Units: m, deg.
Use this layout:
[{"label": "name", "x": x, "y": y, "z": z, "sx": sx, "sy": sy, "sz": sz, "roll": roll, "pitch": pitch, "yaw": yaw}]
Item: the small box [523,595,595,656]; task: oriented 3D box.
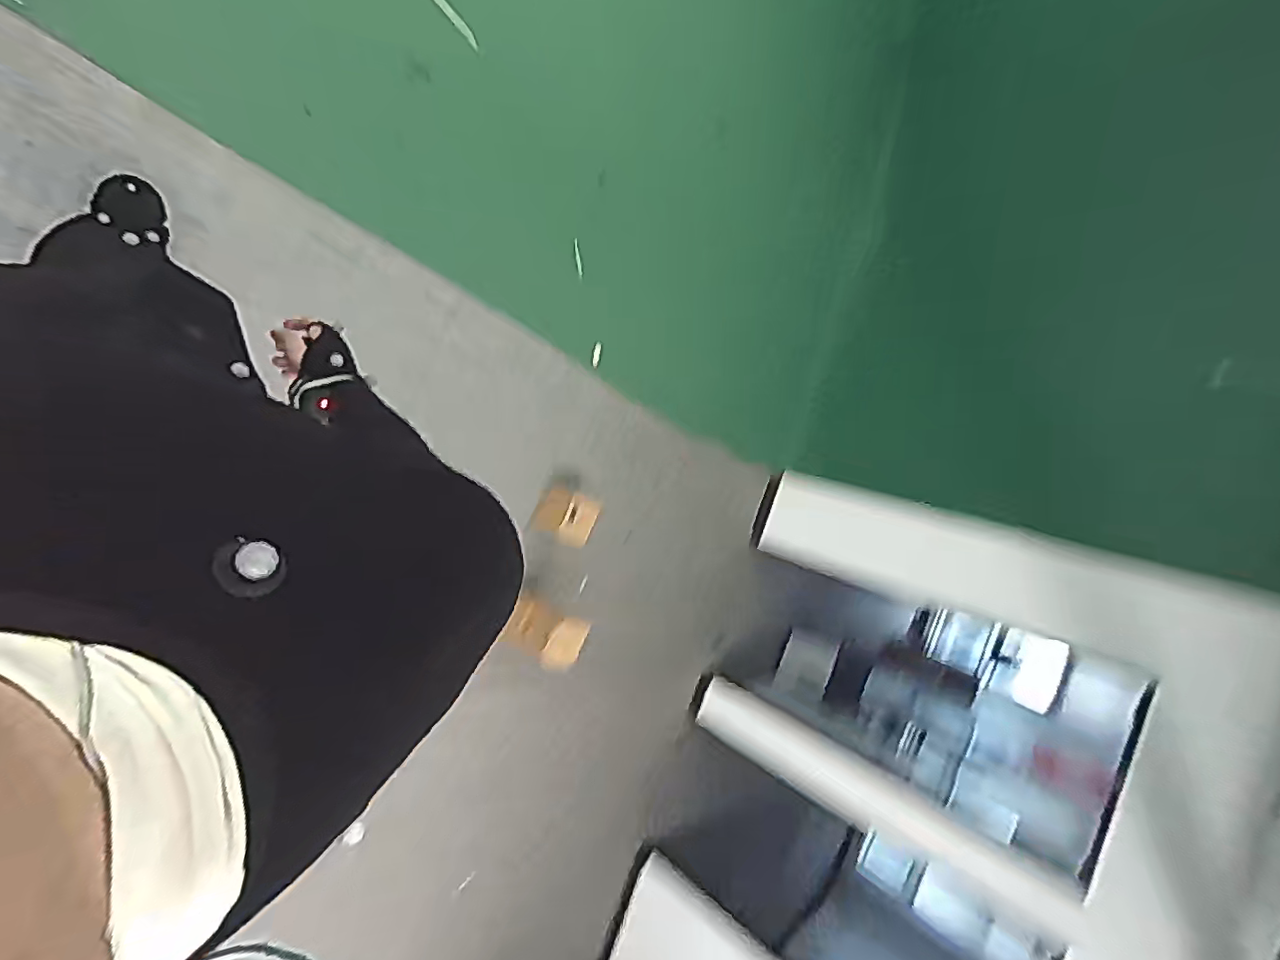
[{"label": "small box", "x": -0.312, "y": 0.558, "z": 2.079, "sx": 0.179, "sy": 0.176, "sz": 0.168, "roll": 32, "pitch": 78, "yaw": -50}]

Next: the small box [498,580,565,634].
[{"label": "small box", "x": -0.439, "y": 0.514, "z": 2.175, "sx": 0.179, "sy": 0.176, "sz": 0.168, "roll": 25, "pitch": 85, "yaw": -50}]

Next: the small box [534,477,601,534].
[{"label": "small box", "x": -0.298, "y": 0.101, "z": 2.204, "sx": 0.179, "sy": 0.176, "sz": 0.168, "roll": 30, "pitch": 82, "yaw": -51}]
